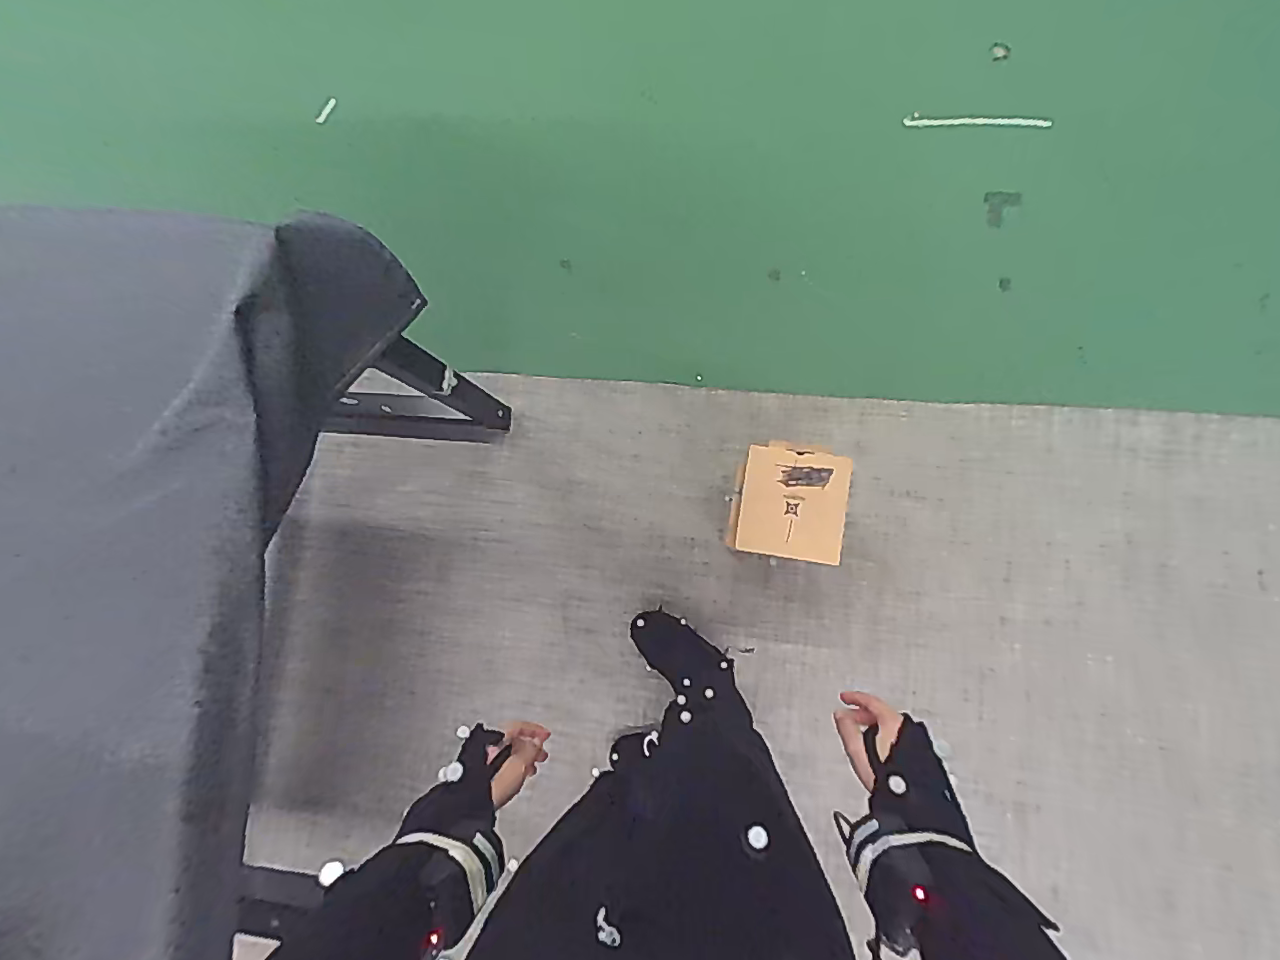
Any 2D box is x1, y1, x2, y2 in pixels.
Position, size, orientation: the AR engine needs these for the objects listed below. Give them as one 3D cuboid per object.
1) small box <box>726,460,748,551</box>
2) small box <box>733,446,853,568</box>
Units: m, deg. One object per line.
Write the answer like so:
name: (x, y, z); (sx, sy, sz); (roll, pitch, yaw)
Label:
small box: (0.269, 0.067, 1.106); (0.168, 0.176, 0.179); (9, 86, 8)
small box: (0.257, 0.050, 0.943); (0.168, 0.176, 0.179); (9, 85, 9)
